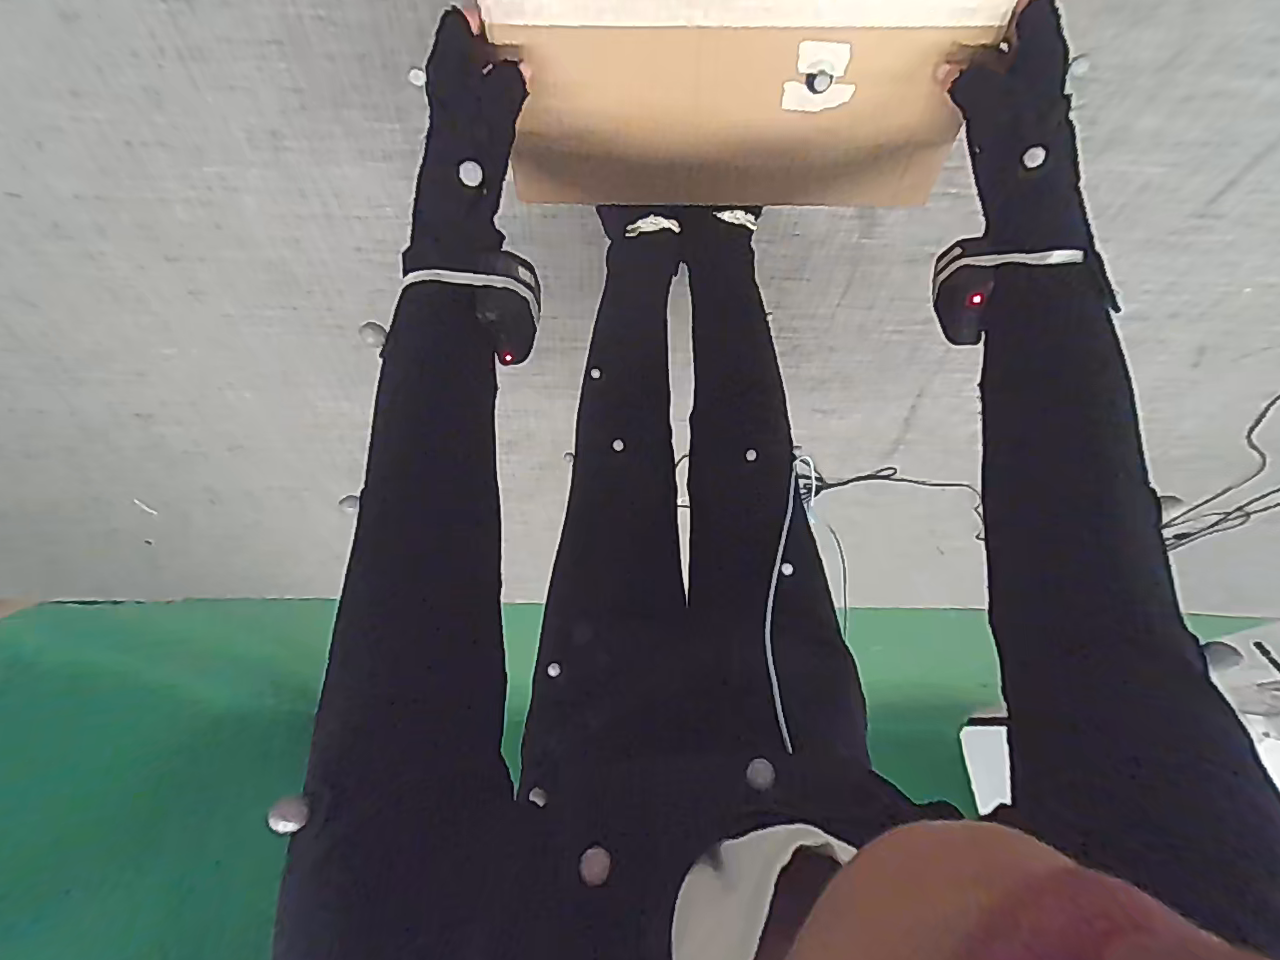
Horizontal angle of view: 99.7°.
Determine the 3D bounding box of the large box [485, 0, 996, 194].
[{"bbox_3d":[0.075,-0.496,0.492,0.408,0.320,0.320,0,147,0],"label":"large box"}]
